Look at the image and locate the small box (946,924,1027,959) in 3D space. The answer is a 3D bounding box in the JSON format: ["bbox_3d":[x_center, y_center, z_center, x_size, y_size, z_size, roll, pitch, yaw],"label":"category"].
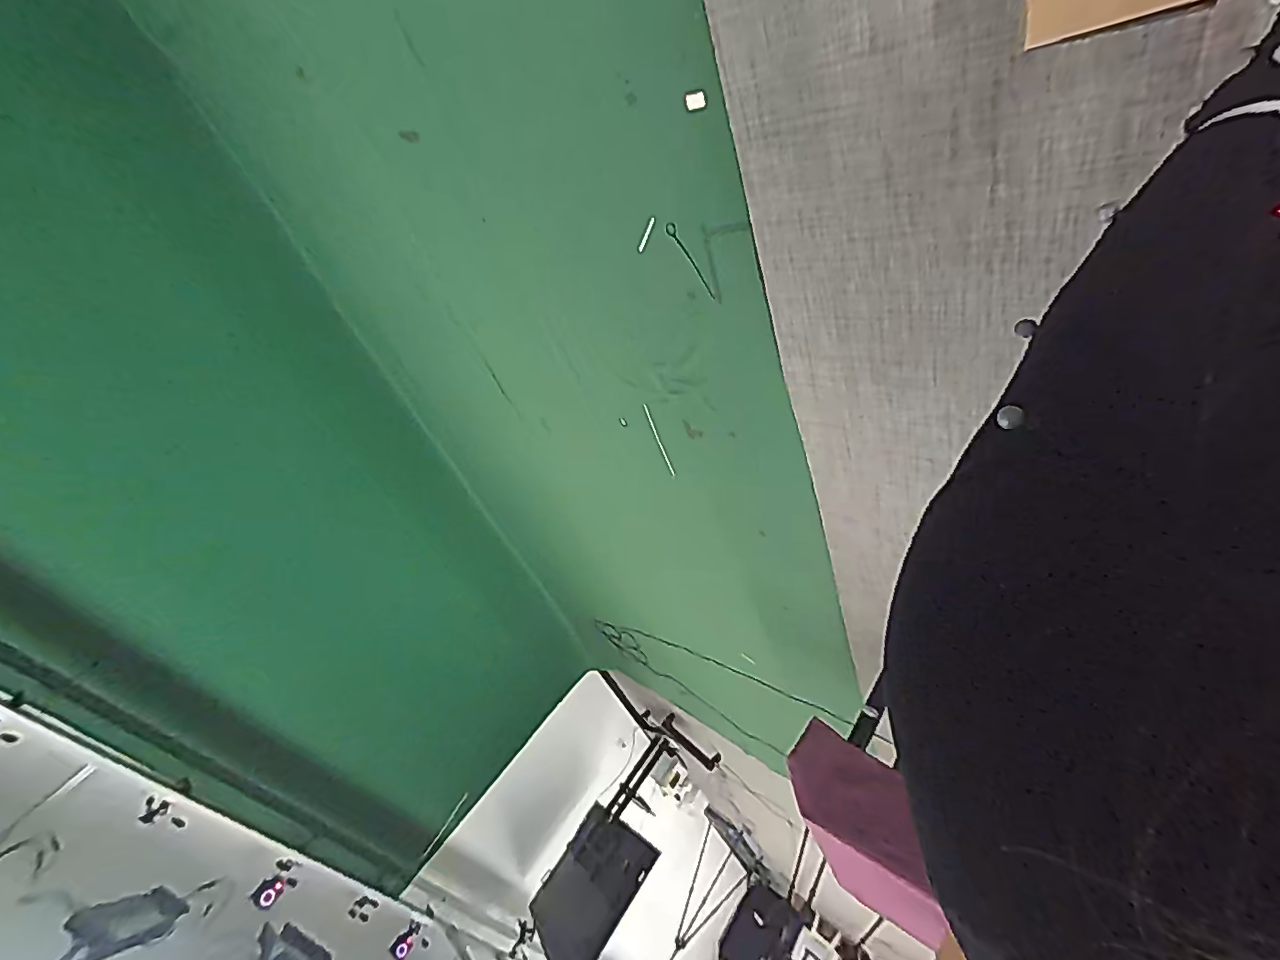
[{"bbox_3d":[0.873,1.259,1.351,0.179,0.176,0.168,14,141,44],"label":"small box"}]
